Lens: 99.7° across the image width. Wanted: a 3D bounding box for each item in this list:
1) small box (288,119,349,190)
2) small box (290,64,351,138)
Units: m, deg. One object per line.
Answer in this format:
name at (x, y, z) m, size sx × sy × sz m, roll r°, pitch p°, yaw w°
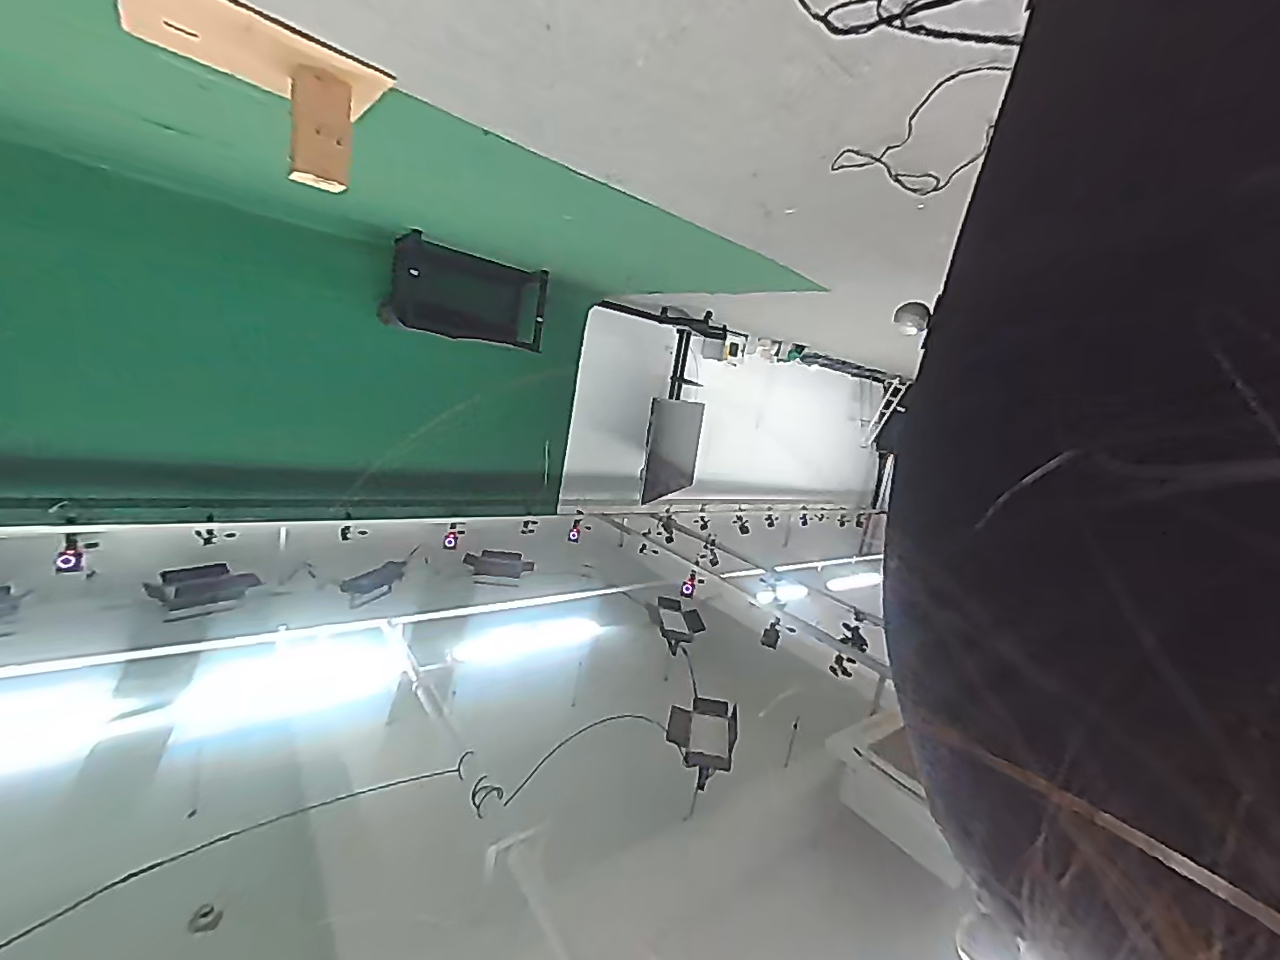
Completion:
small box at (-1.171, -1.183, 1.970) m, size 0.168 × 0.176 × 0.179 m, roll 0°, pitch -164°, yaw -42°
small box at (-1.145, -1.342, 1.938) m, size 0.168 × 0.176 × 0.179 m, roll -1°, pitch -166°, yaw -40°
